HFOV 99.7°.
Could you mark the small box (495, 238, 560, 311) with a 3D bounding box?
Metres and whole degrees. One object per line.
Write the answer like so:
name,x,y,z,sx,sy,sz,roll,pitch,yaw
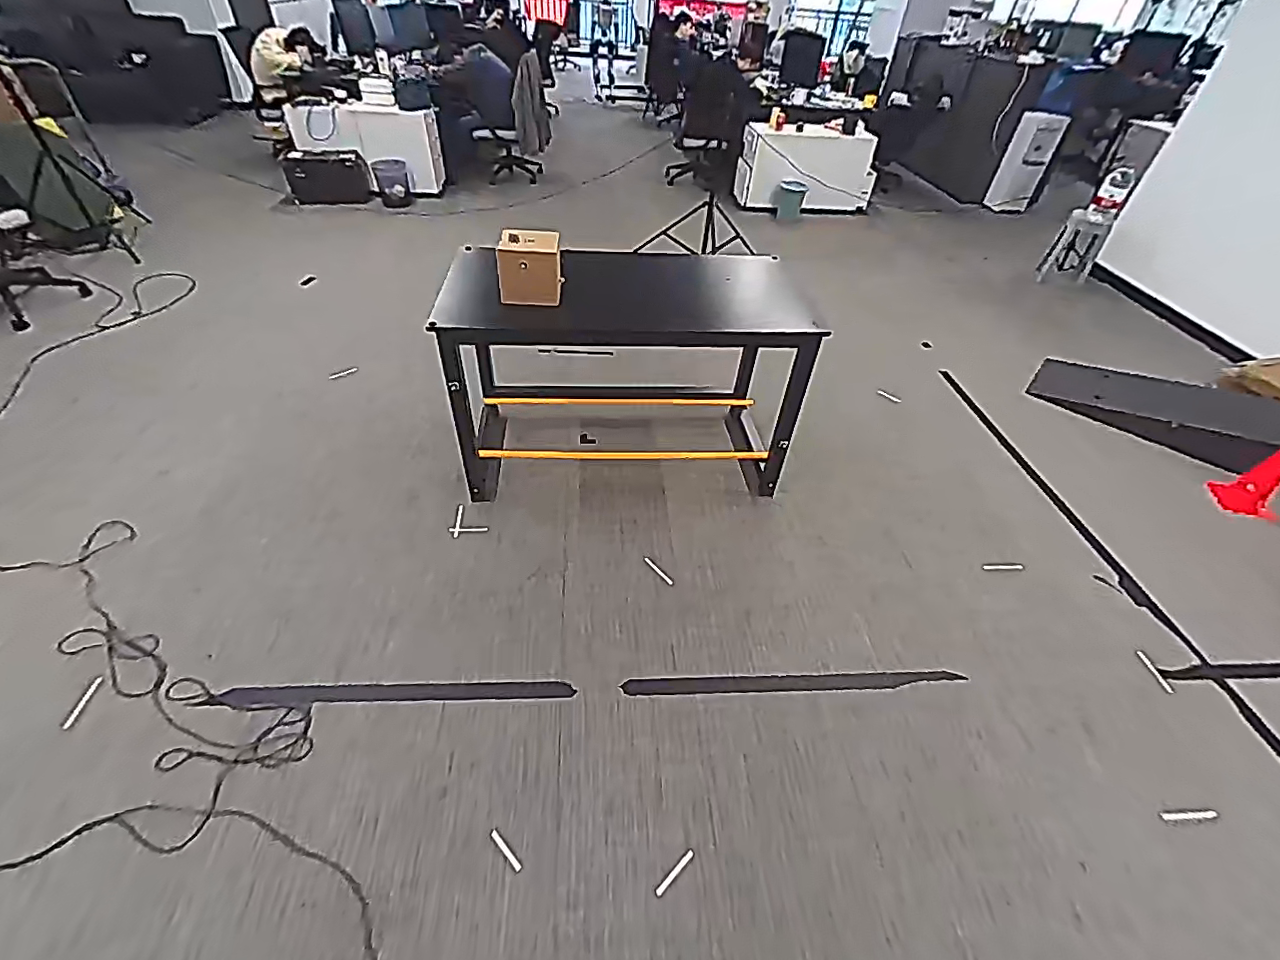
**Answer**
small box,-0.347,-0.641,1.693,0.179,0.176,0.168,1,43,-6
